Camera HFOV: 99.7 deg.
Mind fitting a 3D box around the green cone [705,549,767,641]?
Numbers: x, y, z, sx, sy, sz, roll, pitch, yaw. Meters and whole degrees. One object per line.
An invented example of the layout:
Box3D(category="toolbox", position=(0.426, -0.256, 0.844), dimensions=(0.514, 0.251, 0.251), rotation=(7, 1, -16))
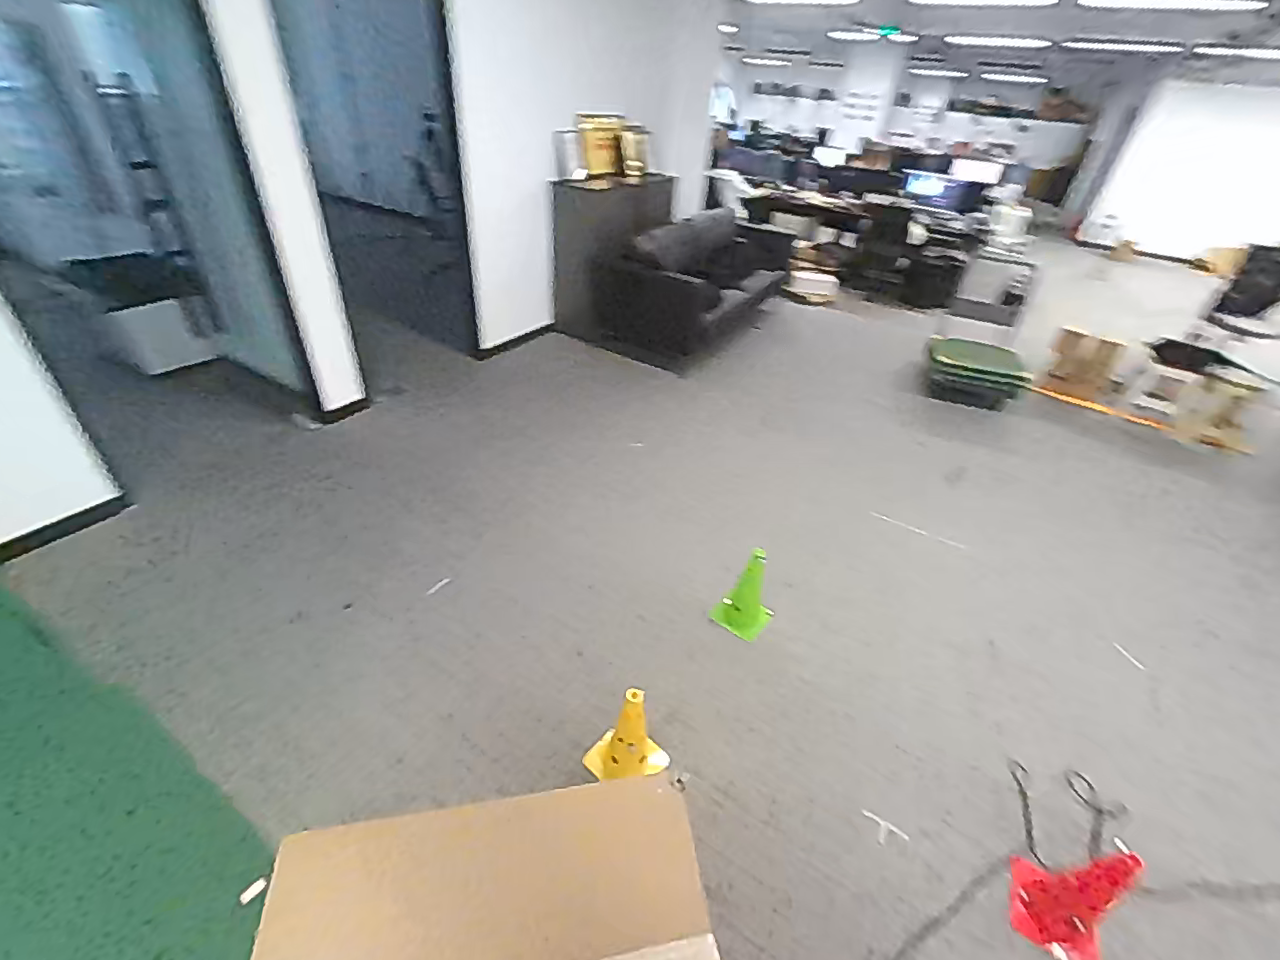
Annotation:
Box3D(category="green cone", position=(0.400, 0.405, 2.082), dimensions=(0.200, 0.368, 0.202), rotation=(27, 42, 27))

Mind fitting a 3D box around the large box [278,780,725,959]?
Box3D(category="large box", position=(-0.132, 0.566, 0.572), dimensions=(0.408, 0.320, 0.320), rotation=(-2, 45, -12))
